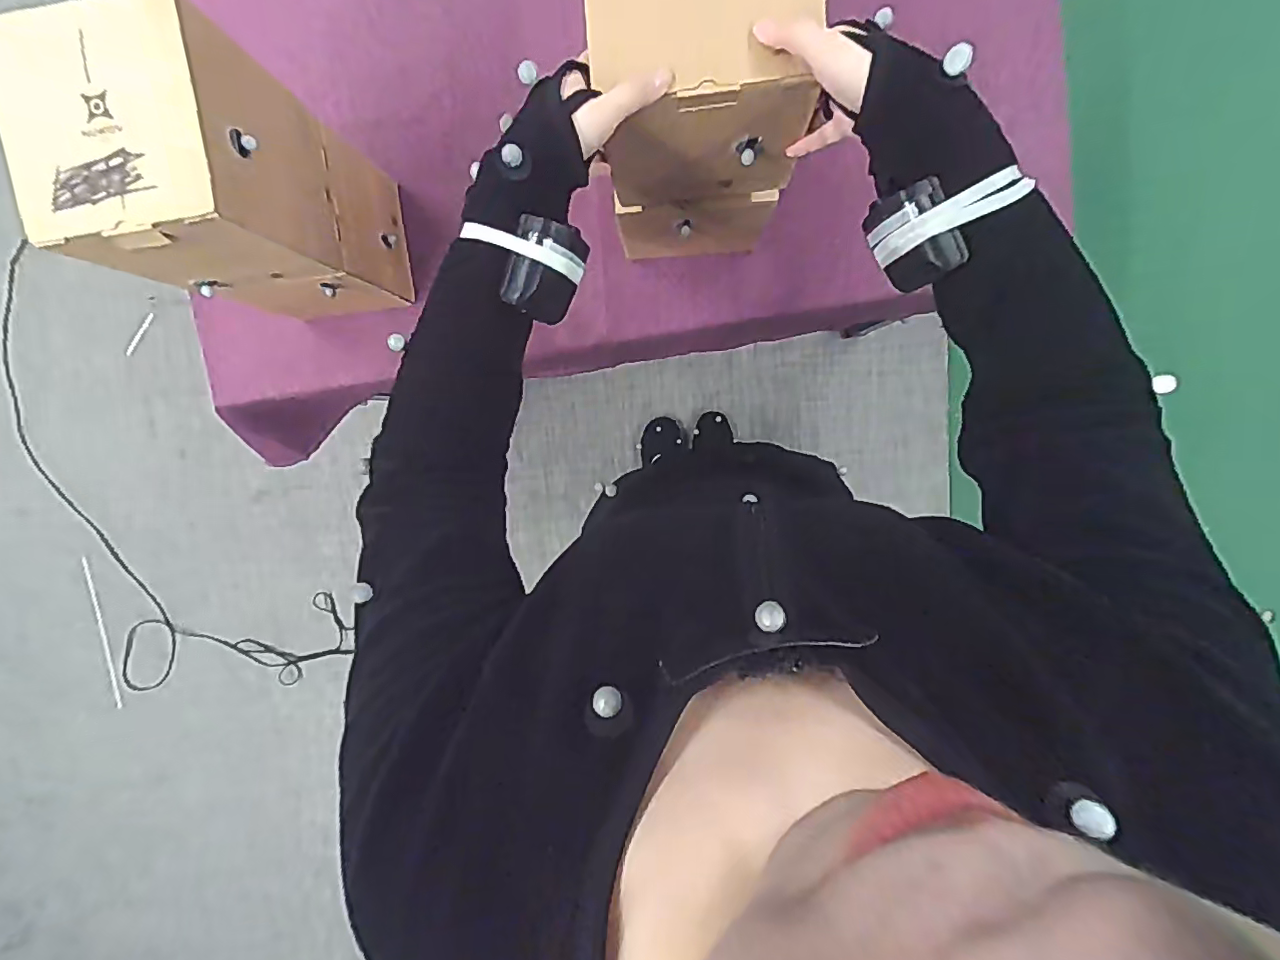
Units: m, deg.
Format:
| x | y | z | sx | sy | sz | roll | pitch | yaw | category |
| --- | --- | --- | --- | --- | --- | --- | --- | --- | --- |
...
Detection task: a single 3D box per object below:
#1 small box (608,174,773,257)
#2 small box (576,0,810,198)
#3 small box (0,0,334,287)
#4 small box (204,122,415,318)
| x | y | z | sx | sy | sz | roll | pitch | yaw | category |
| --- | --- | --- | --- | --- | --- | --- | --- | --- | --- |
| 0.057 | -0.376 | 0.643 | 0.179 | 0.176 | 0.168 | -2 | 97 | 4 | small box |
| 0.043 | -0.360 | 0.457 | 0.168 | 0.176 | 0.179 | -3 | 93 | 6 | small box |
| -0.427 | -0.296 | 0.520 | 0.168 | 0.176 | 0.179 | -7 | 95 | 4 | small box |
| -0.415 | -0.310 | 0.683 | 0.179 | 0.176 | 0.168 | -7 | 96 | 4 | small box |
